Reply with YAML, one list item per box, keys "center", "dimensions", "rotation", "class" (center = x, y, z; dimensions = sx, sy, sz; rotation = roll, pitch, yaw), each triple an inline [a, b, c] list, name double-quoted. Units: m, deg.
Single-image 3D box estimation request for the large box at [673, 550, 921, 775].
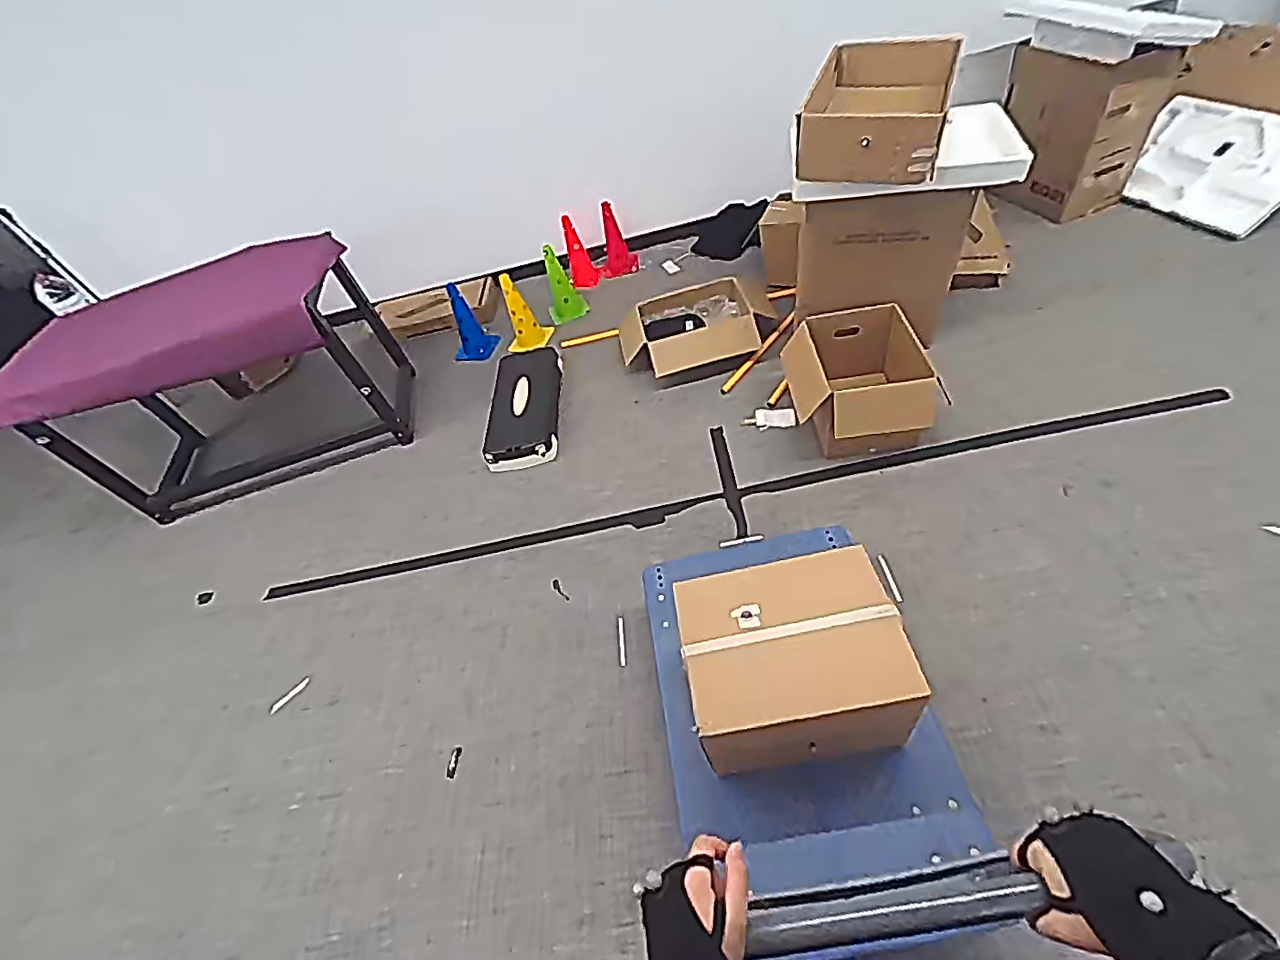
- center: [0.314, 0.399, 1.159]
  dimensions: [0.408, 0.320, 0.320]
  rotation: [-14, 47, 6]
  class: "large box"
